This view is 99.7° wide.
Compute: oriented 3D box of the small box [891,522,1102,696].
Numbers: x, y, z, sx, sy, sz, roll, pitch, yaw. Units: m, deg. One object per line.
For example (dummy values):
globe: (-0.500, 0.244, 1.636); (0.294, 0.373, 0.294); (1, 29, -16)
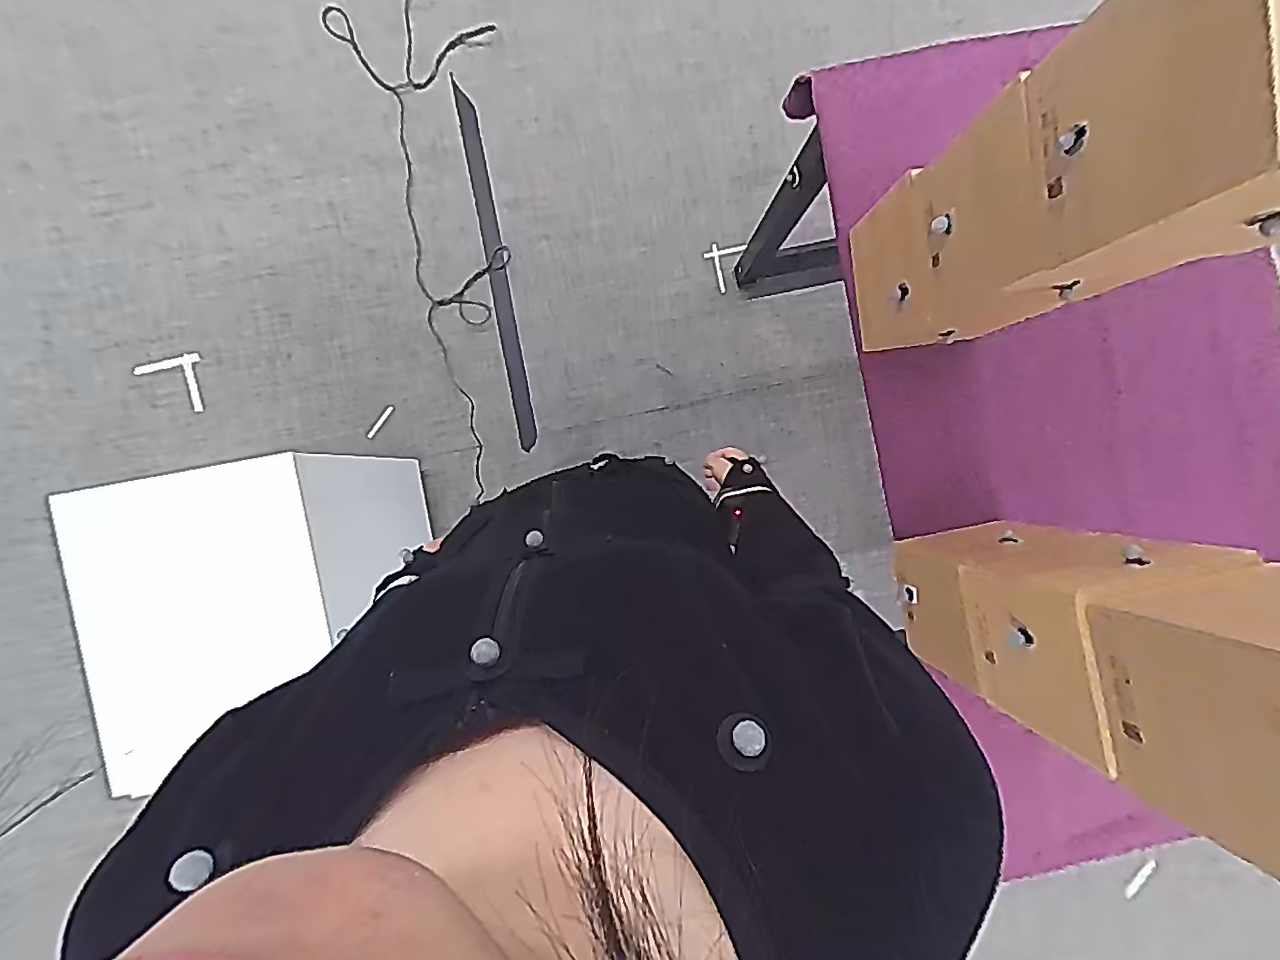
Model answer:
small box: (0.463, 0.155, 0.706); (0.179, 0.176, 0.168); (-11, 90, -1)

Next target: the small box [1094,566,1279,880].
small box: (0.482, 0.165, 0.380); (0.179, 0.176, 0.168); (-11, 90, -3)

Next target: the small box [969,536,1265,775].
small box: (0.465, 0.157, 0.543); (0.179, 0.176, 0.168); (-12, 90, -2)

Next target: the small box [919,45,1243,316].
small box: (0.409, -0.272, 0.529); (0.179, 0.176, 0.168); (-8, 92, -1)

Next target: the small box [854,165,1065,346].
small box: (0.394, -0.277, 0.693); (0.168, 0.176, 0.179); (-7, 91, -2)
